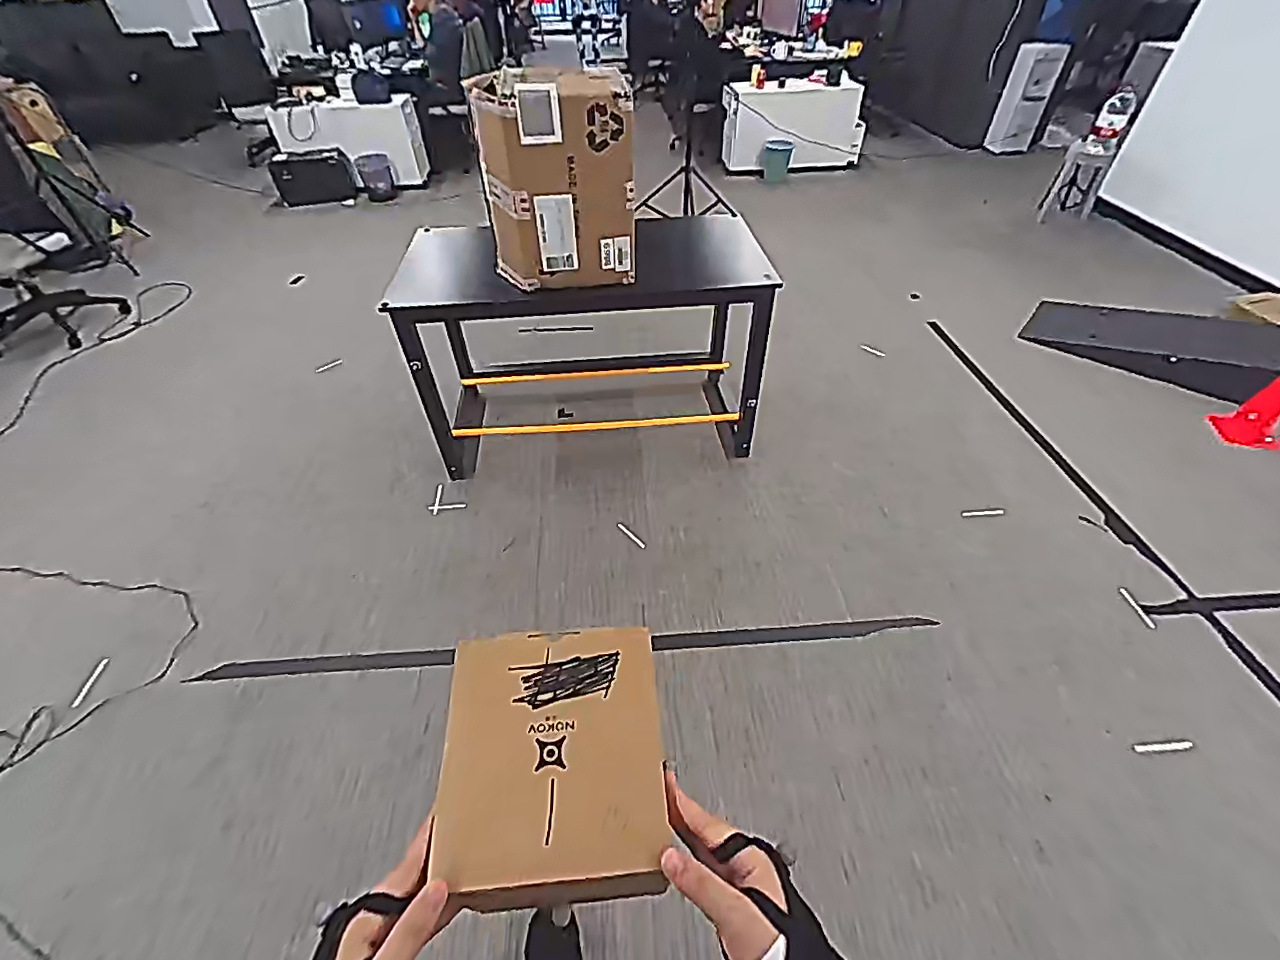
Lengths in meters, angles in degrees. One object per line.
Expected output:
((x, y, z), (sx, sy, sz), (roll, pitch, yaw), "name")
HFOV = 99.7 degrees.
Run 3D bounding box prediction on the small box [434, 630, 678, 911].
((-0.062, 0.254, 0.475), (0.168, 0.176, 0.179), (-4, 48, -3), "small box")
